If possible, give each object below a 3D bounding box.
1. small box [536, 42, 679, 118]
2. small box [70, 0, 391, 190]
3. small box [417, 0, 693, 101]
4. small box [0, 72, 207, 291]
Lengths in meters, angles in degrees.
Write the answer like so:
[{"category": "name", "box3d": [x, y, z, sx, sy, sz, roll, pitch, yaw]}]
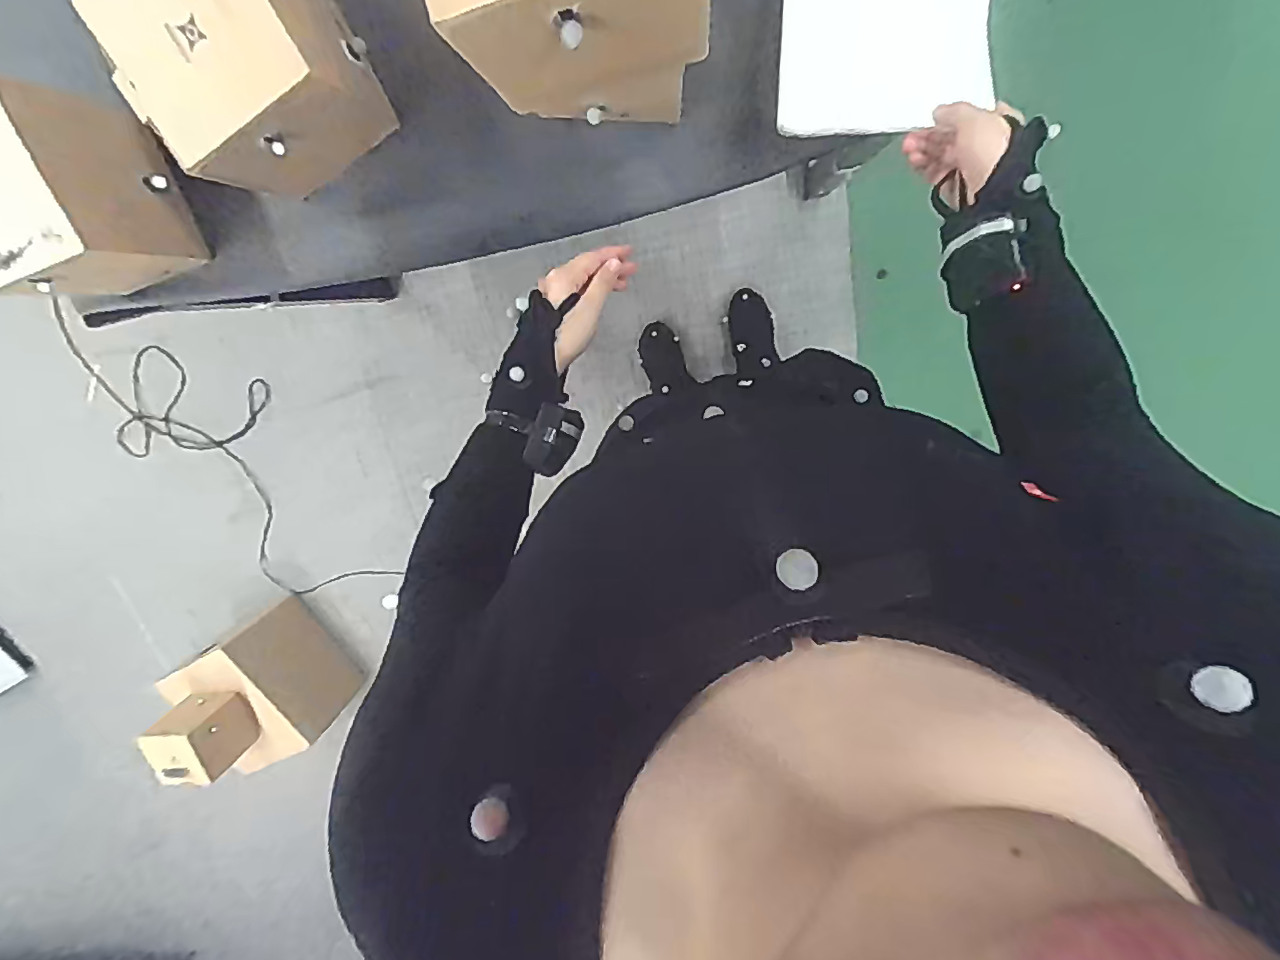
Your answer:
[{"category": "small box", "box3d": [-0.047, -0.477, 0.518, 0.168, 0.176, 0.179, 6, 110, 6]}, {"category": "small box", "box3d": [-0.413, -0.441, 0.578, 0.179, 0.176, 0.168, -25, 105, 14]}, {"category": "small box", "box3d": [-0.060, -0.400, 0.373, 0.179, 0.176, 0.168, -10, 107, 11]}, {"category": "small box", "box3d": [-0.689, -0.335, 0.648, 0.168, 0.176, 0.179, -14, 107, 11]}]
